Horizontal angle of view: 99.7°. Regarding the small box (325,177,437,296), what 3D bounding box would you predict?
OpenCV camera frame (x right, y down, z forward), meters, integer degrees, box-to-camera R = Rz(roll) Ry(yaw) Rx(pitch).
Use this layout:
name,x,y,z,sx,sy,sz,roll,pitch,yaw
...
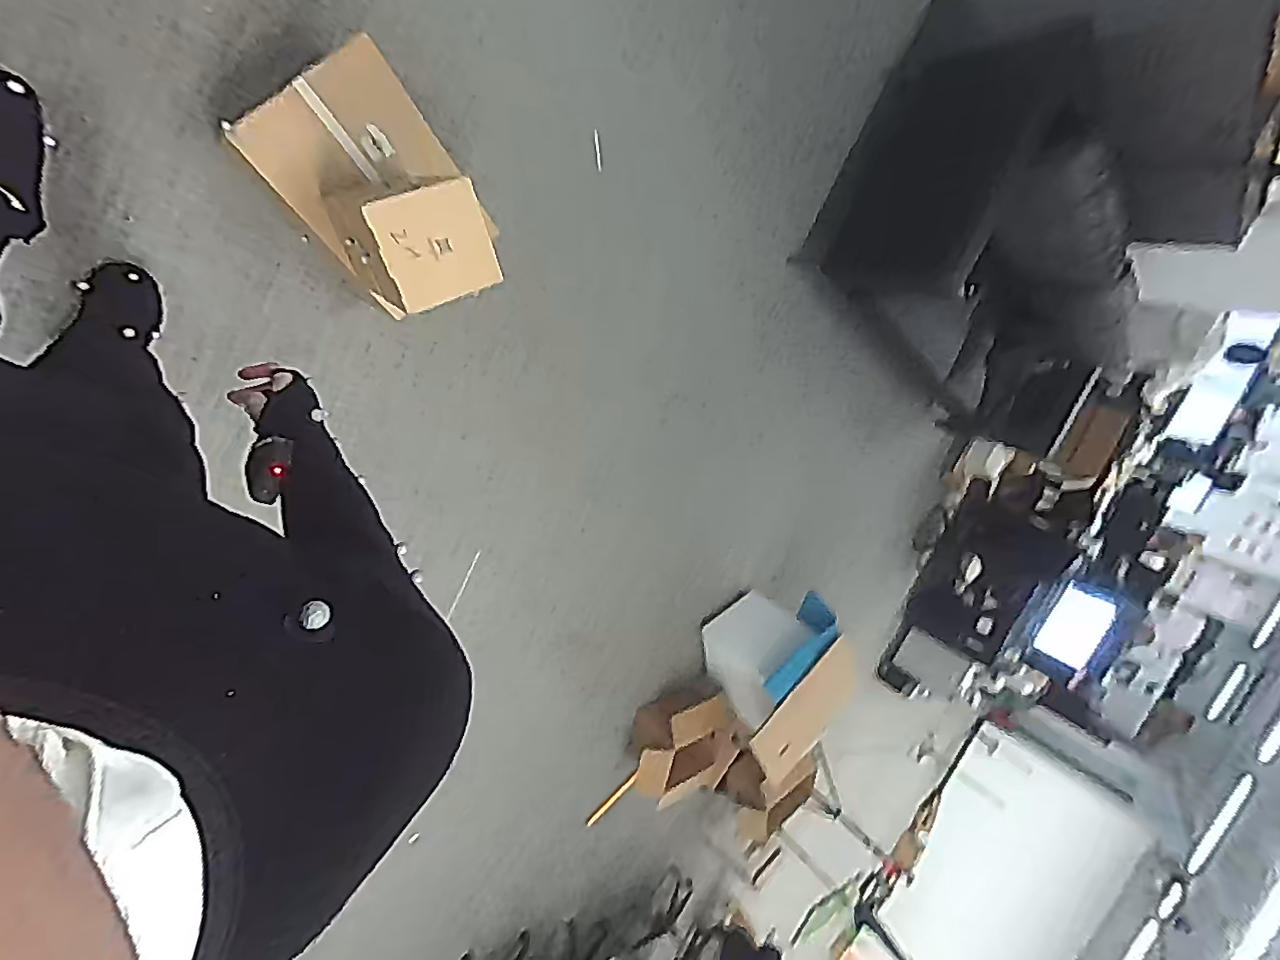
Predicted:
name,x,y,z,sx,sy,sz,roll,pitch,yaw
small box,-0.463,-0.471,1.030,0.179,0.176,0.168,-31,129,-24

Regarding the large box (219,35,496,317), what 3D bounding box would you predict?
name,x,y,z,sx,sy,sz,roll,pitch,yaw
large box,-0.602,-0.629,1.175,0.320,0.320,0.408,-47,134,-12

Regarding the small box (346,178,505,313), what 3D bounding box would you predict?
name,x,y,z,sx,sy,sz,roll,pitch,yaw
small box,-0.363,-0.404,0.916,0.179,0.176,0.168,-31,129,-23
